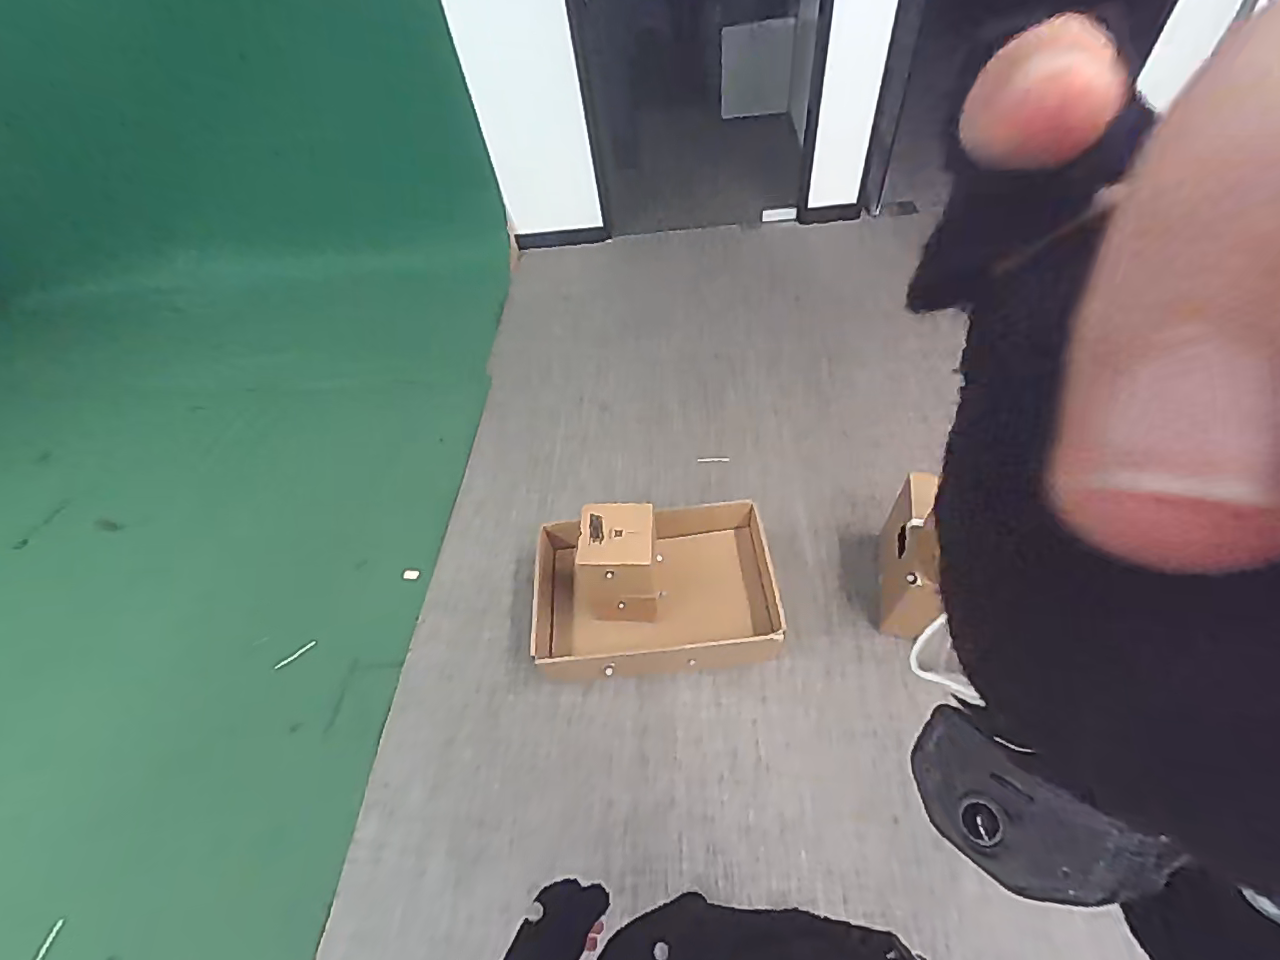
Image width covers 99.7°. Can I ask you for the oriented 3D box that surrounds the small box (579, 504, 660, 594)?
[{"bbox_3d":[-0.044,0.173,1.333,0.179,0.176,0.168,-1,54,5],"label":"small box"}]

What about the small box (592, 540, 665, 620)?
[{"bbox_3d":[-0.026,0.272,1.464,0.179,0.176,0.168,0,54,5],"label":"small box"}]

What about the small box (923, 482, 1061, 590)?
[{"bbox_3d":[0.724,0.121,1.134,0.179,0.176,0.168,3,56,10],"label":"small box"}]
